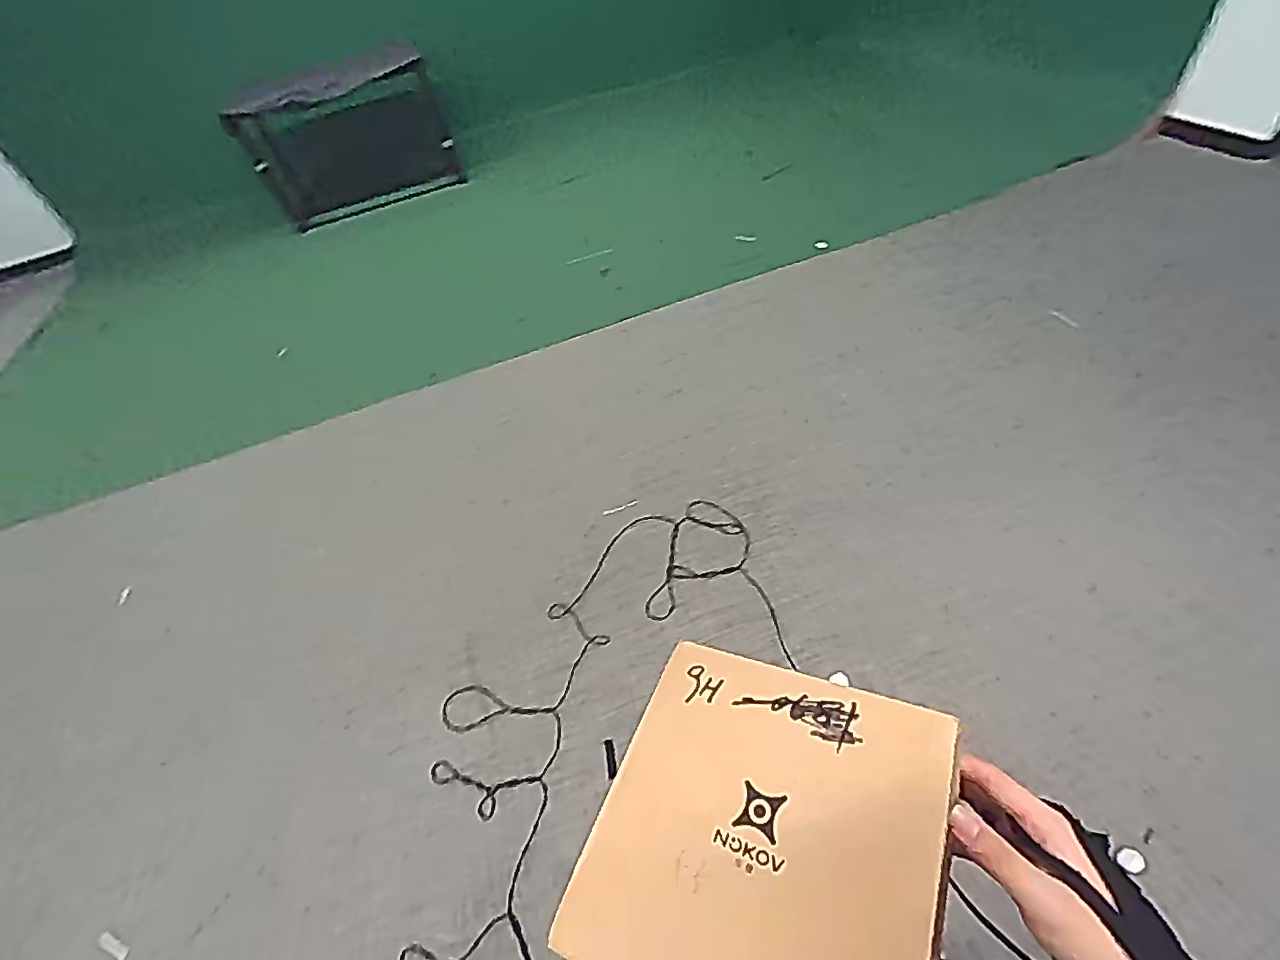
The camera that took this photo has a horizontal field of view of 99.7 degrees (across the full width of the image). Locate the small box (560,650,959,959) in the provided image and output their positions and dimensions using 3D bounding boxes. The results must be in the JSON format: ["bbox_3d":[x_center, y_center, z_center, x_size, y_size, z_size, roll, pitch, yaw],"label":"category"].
[{"bbox_3d":[0.090,0.238,0.327,0.168,0.176,0.179,6,50,34],"label":"small box"}]
